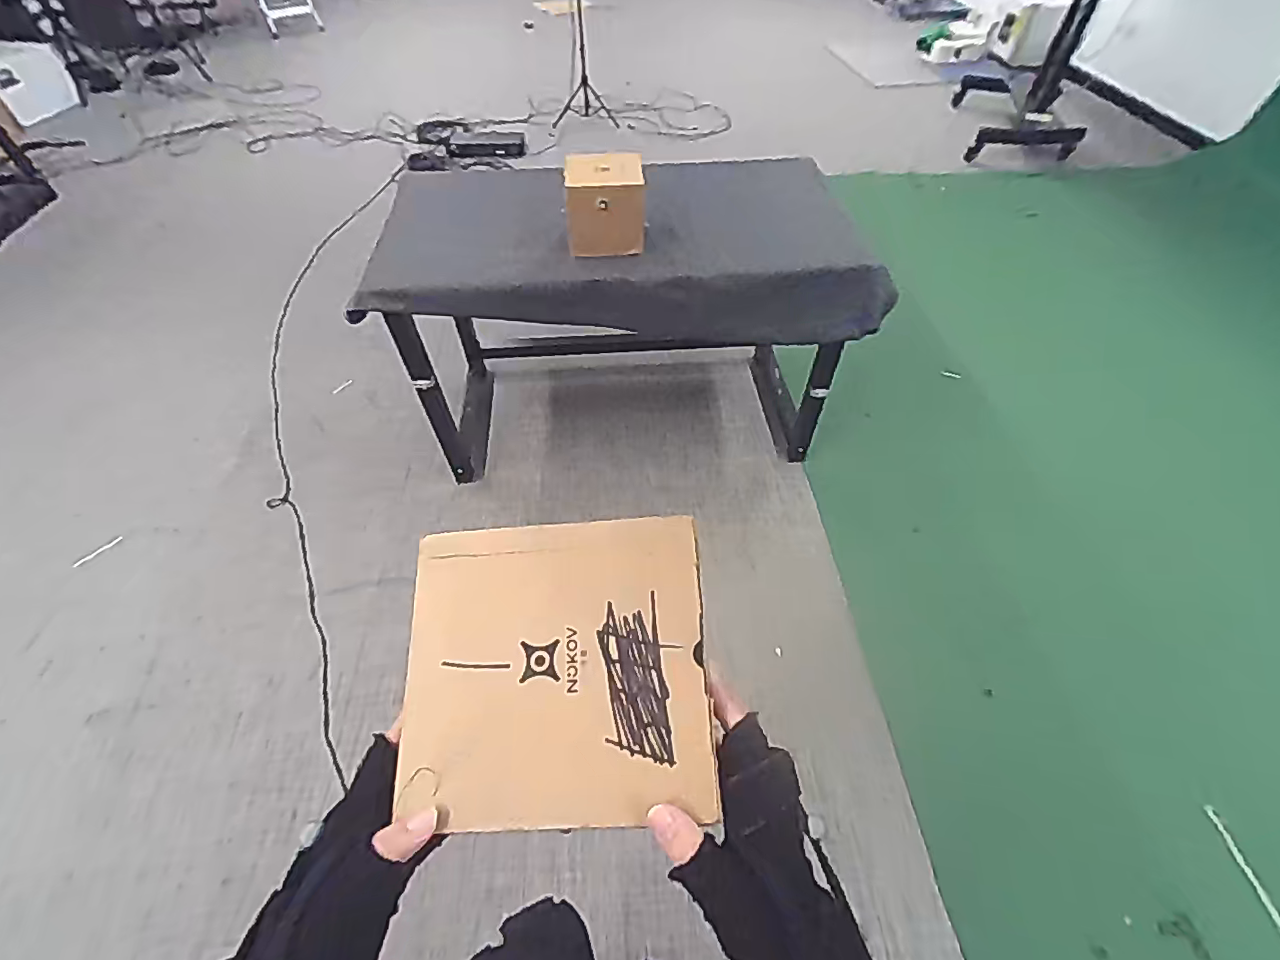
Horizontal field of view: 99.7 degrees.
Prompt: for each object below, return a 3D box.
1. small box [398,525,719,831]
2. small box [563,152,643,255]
[{"bbox_3d":[-0.042,0.136,0.390,0.179,0.176,0.168,-4,69,4],"label":"small box"},{"bbox_3d":[-0.084,-0.652,1.282,0.179,0.176,0.168,-3,53,-3],"label":"small box"}]
